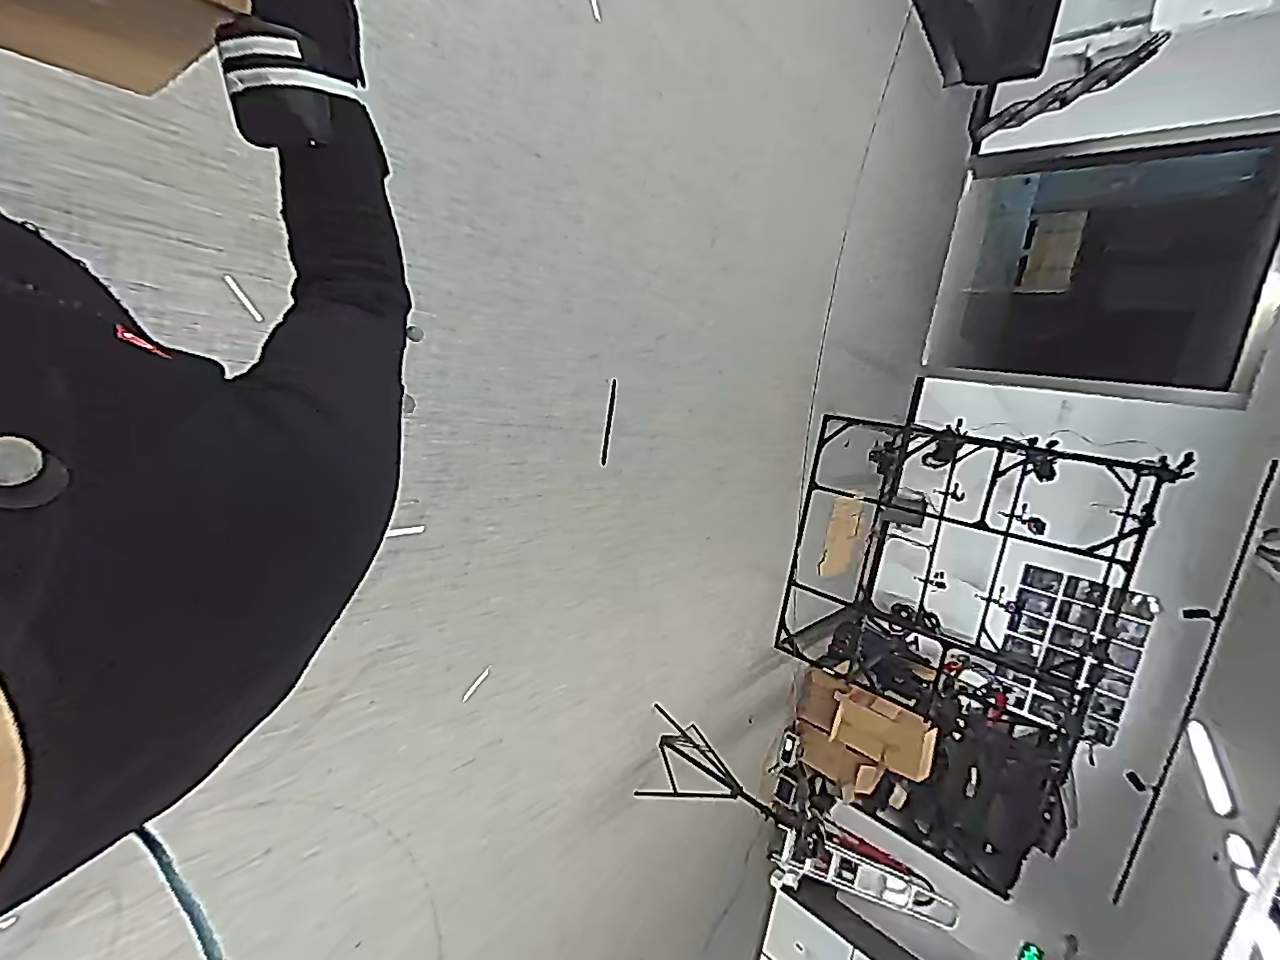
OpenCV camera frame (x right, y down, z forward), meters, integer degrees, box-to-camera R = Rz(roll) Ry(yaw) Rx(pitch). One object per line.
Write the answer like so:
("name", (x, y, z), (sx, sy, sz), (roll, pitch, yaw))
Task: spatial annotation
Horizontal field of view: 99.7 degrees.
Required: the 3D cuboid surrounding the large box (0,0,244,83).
("large box", (-0.483, -0.472, 0.259), (0.408, 0.320, 0.320), (-10, 114, -50))
